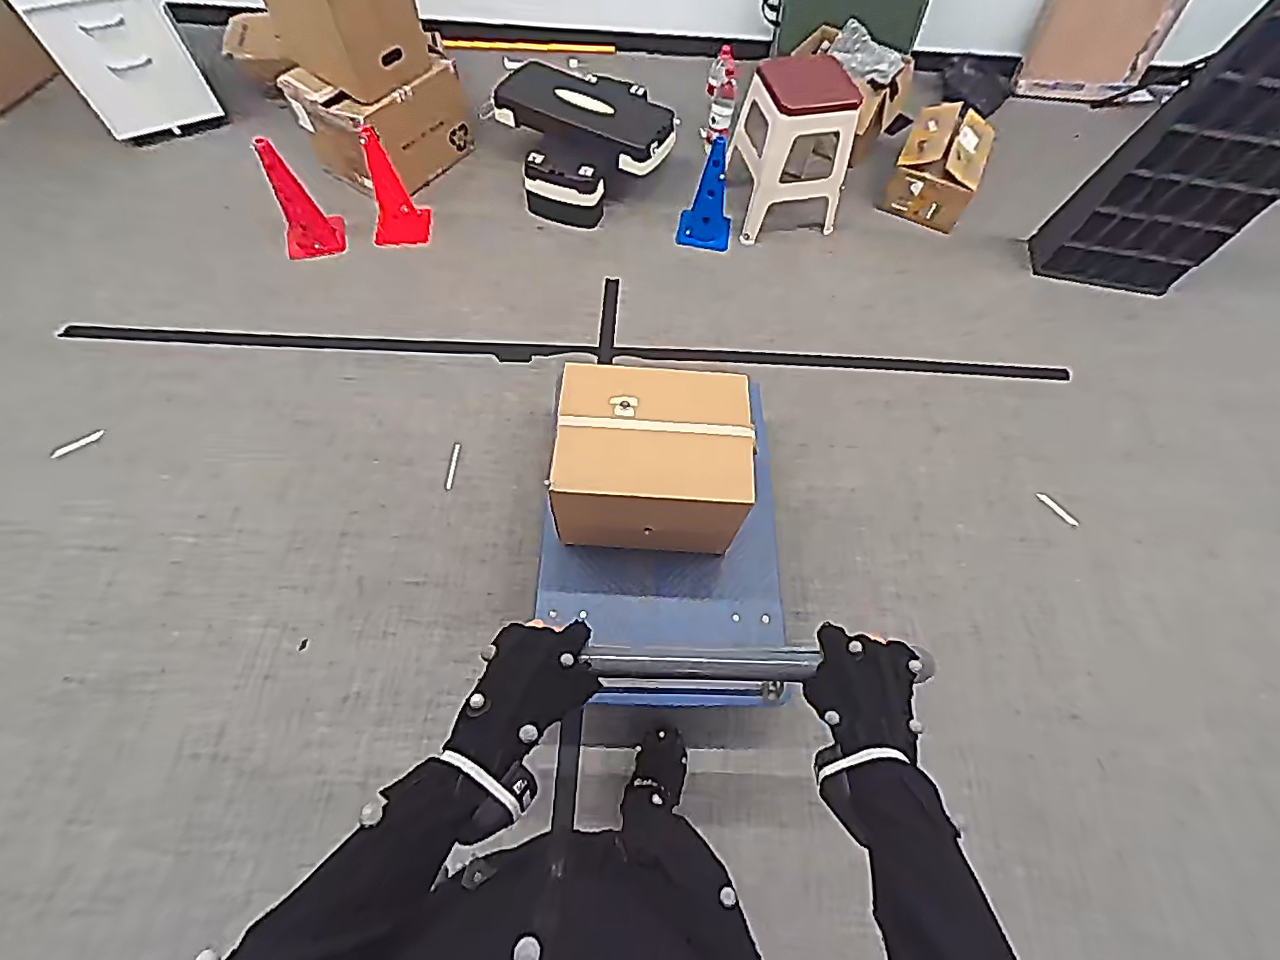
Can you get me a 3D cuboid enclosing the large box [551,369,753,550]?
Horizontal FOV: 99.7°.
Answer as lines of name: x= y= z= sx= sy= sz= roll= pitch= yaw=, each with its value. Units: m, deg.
large box: x=0.026 y=-0.033 z=1.254 sx=0.408 sy=0.320 sz=0.320 roll=4 pitch=64 yaw=-1
